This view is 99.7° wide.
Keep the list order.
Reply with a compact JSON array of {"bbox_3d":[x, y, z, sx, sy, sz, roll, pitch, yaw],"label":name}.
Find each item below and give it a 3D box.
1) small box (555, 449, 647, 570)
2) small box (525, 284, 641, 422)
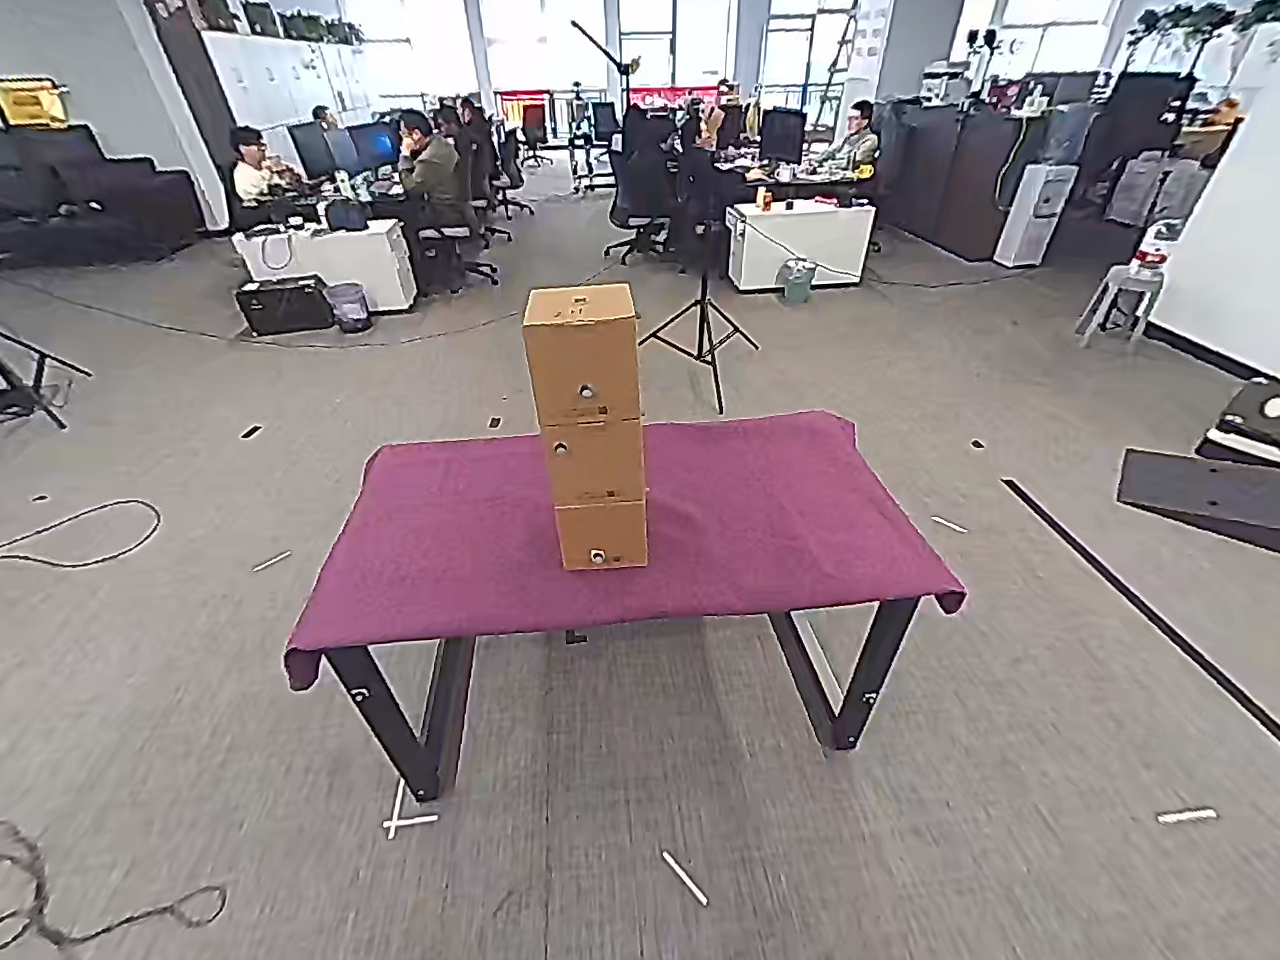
[{"bbox_3d":[-0.074,0.057,1.084,0.168,0.176,0.179,-4,38,-2],"label":"small box"},{"bbox_3d":[-0.088,-0.212,0.894,0.168,0.176,0.179,-5,36,-2],"label":"small box"}]
